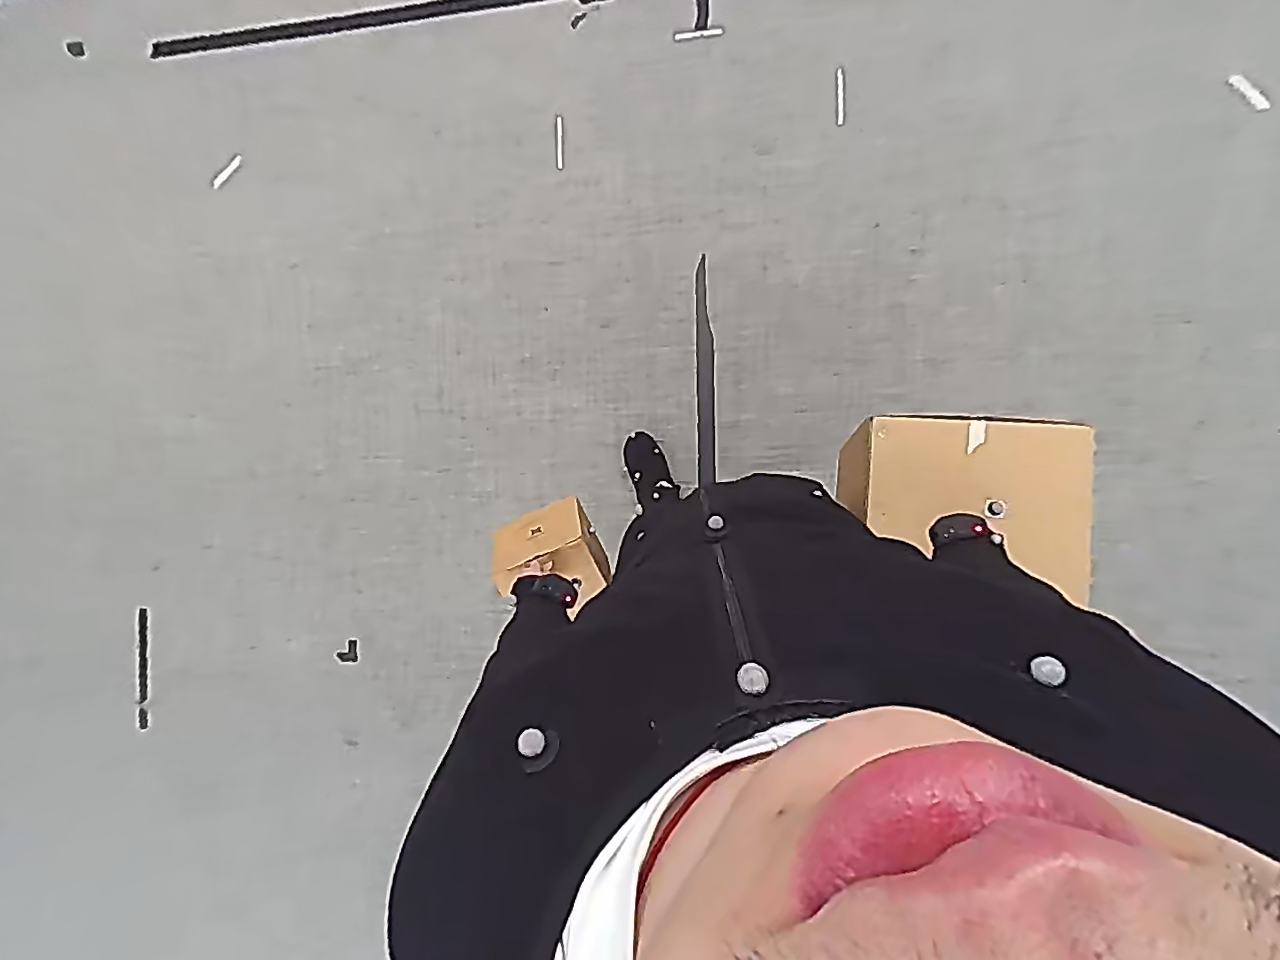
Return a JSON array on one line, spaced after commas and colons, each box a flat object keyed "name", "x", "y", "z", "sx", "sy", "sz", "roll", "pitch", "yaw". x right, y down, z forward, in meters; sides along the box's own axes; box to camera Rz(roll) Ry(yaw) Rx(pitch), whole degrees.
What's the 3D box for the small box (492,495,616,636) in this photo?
[{"name": "small box", "x": -0.154, "y": 0.161, "z": 0.996, "sx": 0.168, "sy": 0.179, "sz": 0.176, "roll": -23, "pitch": 115, "yaw": 0}]
